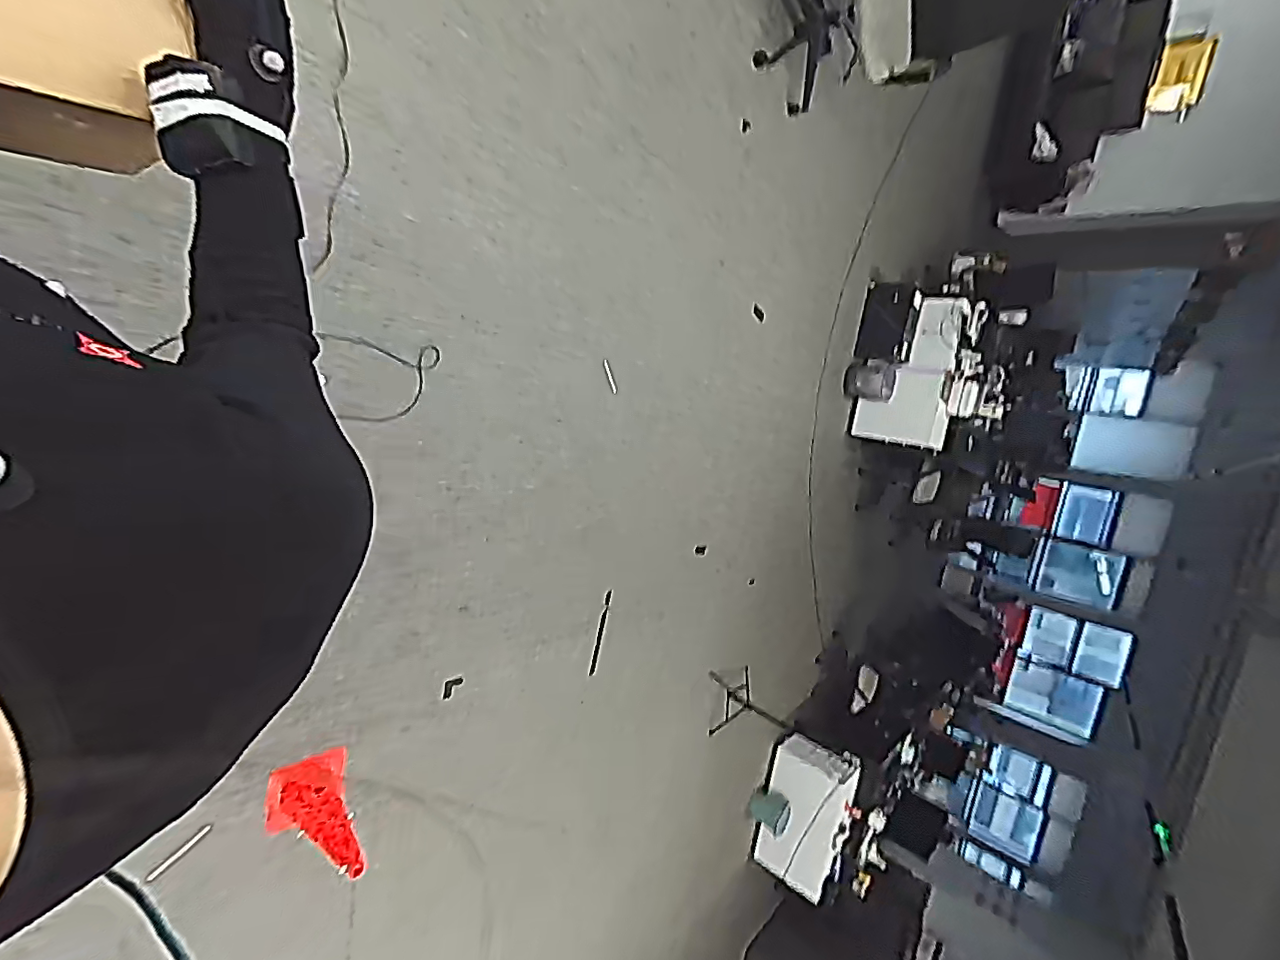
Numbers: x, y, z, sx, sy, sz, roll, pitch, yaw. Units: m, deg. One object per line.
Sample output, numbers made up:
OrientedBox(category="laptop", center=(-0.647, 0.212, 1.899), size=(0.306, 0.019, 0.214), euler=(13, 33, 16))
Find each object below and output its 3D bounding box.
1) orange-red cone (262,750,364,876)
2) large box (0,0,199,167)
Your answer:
OrientedBox(category="orange-red cone", center=(-0.837, 0.927, 1.444), size=(0.198, 0.360, 0.199), euler=(0, 101, -51))
OrientedBox(category="large box", center=(-0.568, -0.413, 0.311), size=(0.408, 0.320, 0.320), euler=(-15, 116, -49))
